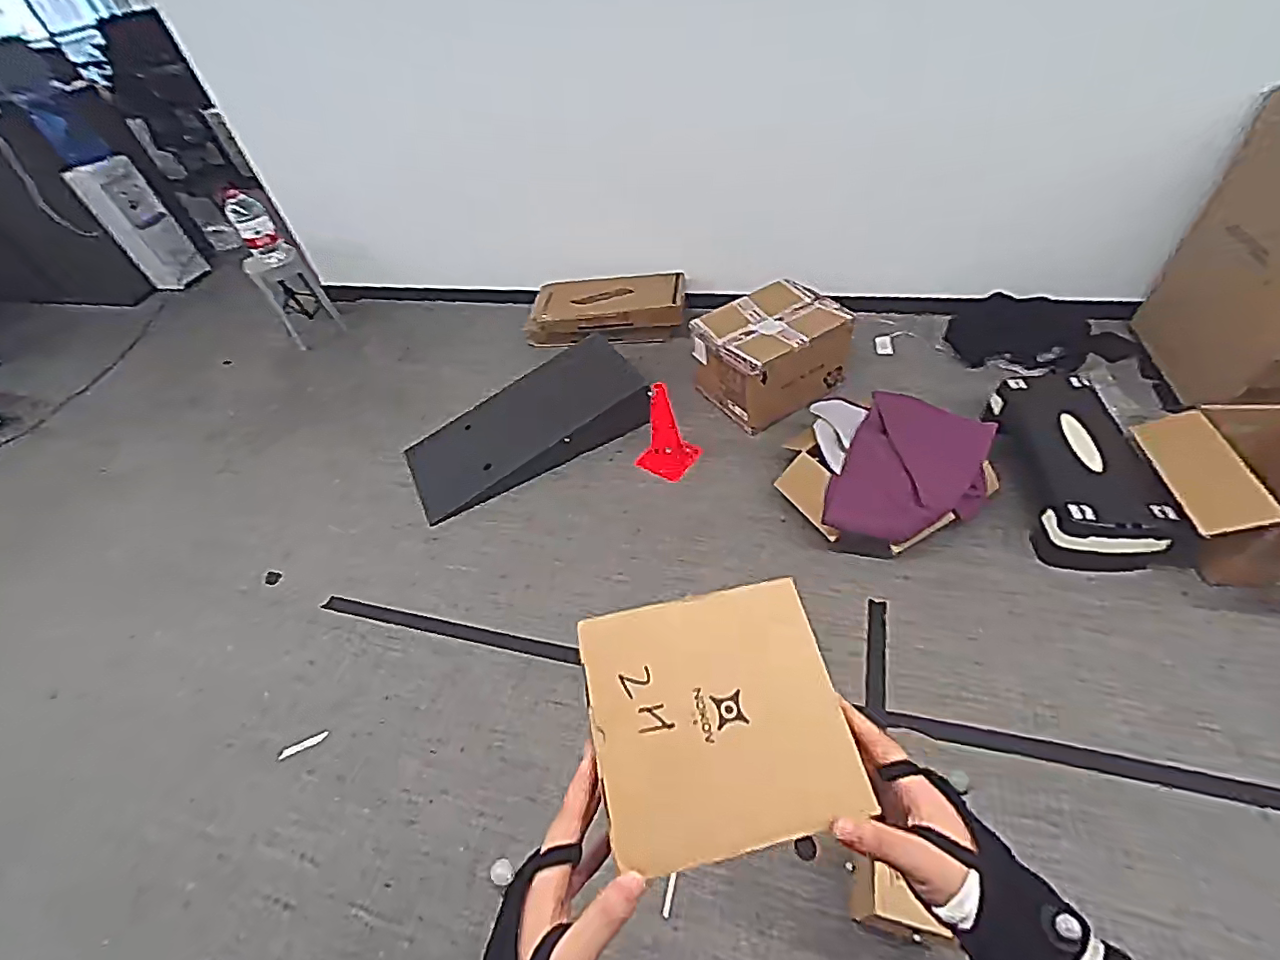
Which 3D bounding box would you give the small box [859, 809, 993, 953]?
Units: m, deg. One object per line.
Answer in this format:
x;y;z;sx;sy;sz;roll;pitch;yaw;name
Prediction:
0.497;0.721;0.969;0.179;0.176;0.168;7;50;15;small box

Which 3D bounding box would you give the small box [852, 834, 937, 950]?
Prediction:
0.533;0.820;1.098;0.168;0.176;0.179;9;51;17;small box

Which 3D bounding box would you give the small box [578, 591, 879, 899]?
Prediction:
0.051;0.208;0.441;0.179;0.176;0.168;-10;60;-8;small box
